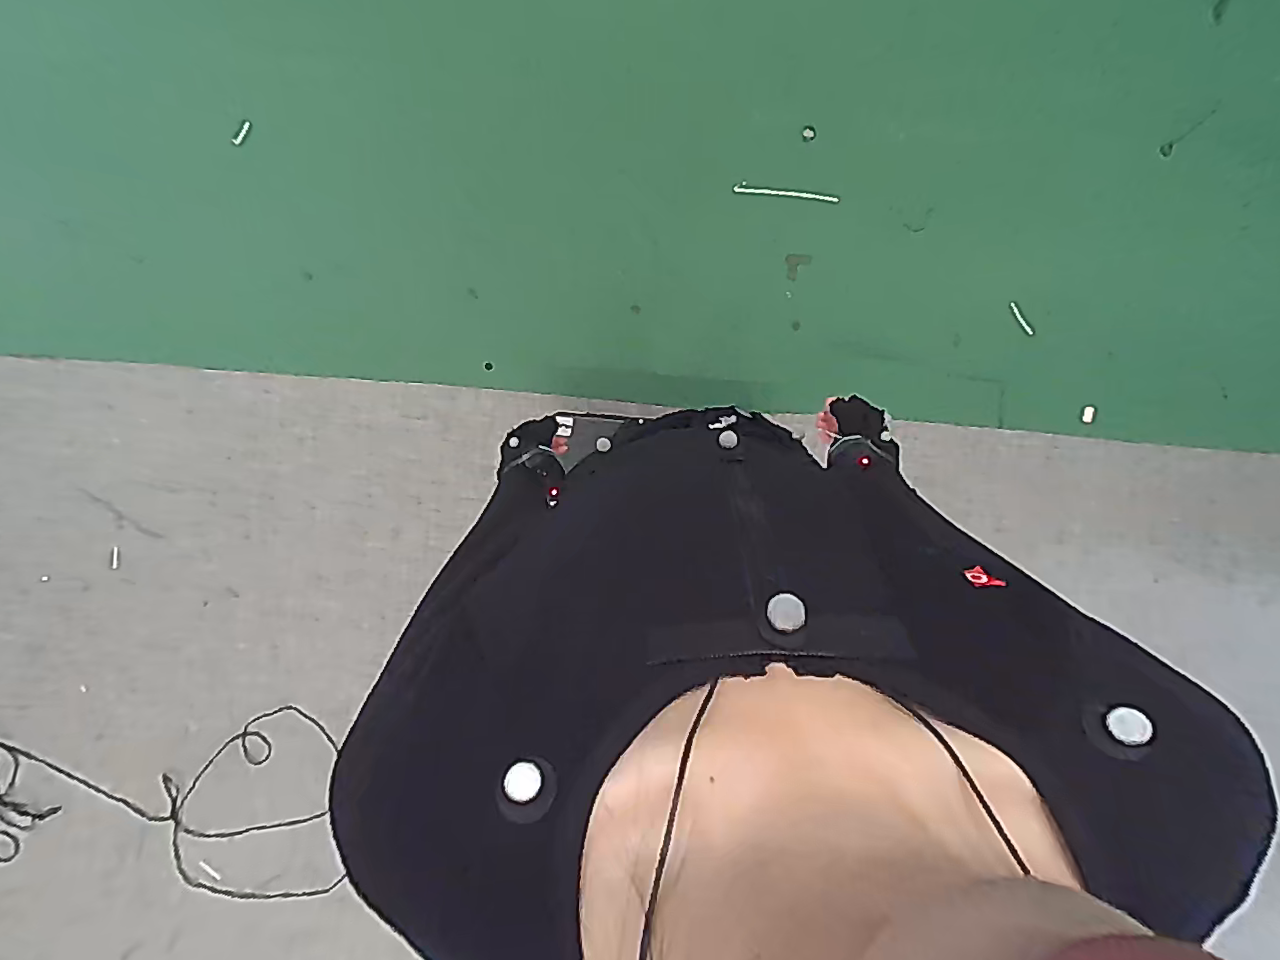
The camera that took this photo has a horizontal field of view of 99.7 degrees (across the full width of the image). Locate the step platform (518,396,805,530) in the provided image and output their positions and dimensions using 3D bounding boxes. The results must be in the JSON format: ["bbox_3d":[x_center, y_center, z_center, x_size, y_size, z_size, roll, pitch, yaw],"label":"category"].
[{"bbox_3d":[0.051,-0.046,1.377,0.684,0.204,0.286,4,96,-1],"label":"step platform"}]
